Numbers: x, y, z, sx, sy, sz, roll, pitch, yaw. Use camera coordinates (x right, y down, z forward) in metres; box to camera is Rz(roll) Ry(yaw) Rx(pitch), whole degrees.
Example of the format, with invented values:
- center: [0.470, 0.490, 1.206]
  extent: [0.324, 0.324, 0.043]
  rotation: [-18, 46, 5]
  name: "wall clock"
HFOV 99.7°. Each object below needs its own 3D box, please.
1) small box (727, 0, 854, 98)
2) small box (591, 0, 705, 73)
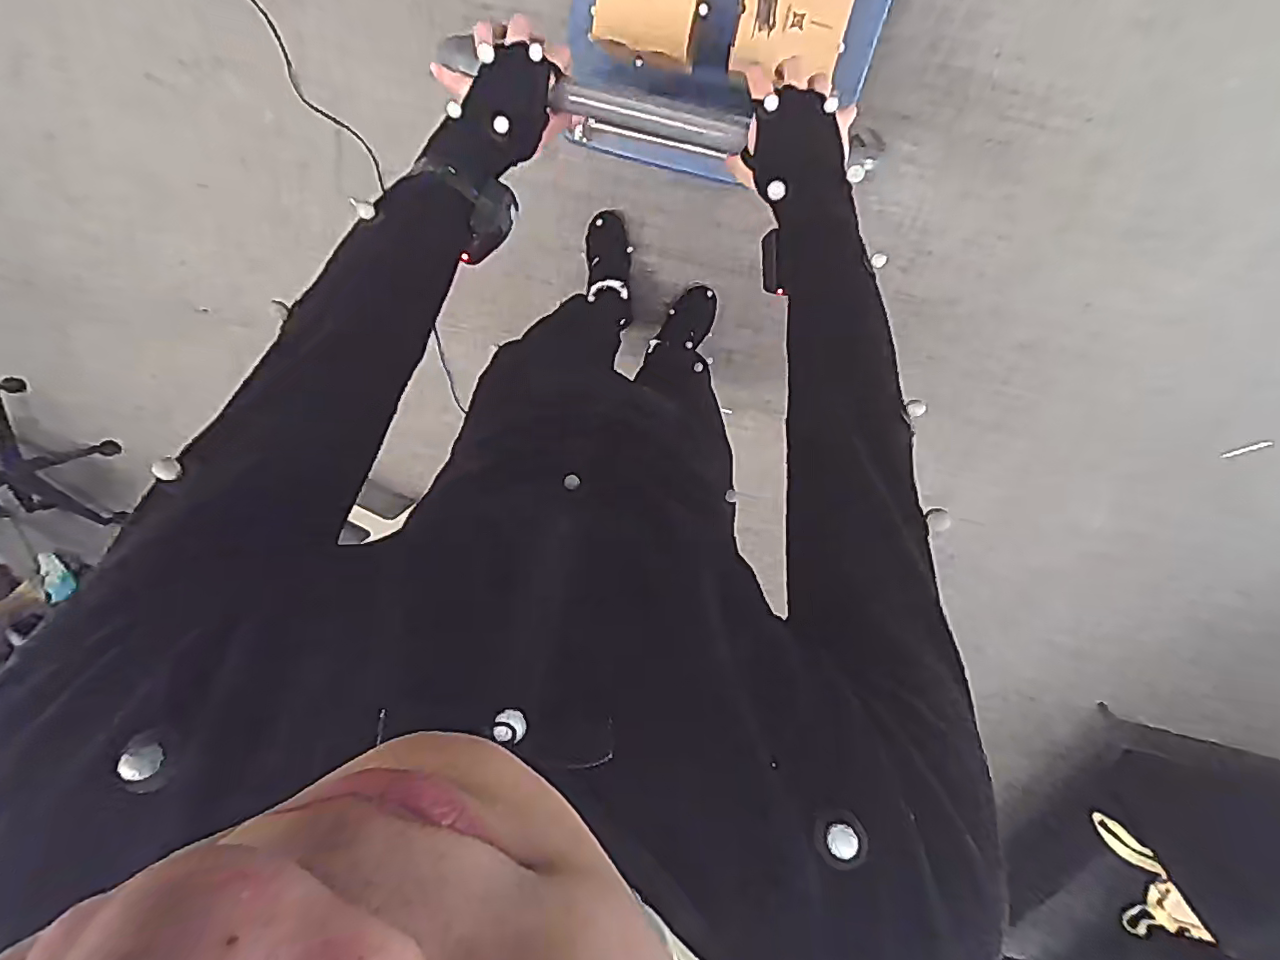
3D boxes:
- center: [0.257, -0.783, 0.941]
  extent: [0.179, 0.176, 0.168]
  rotation: [13, 122, 1]
  name: "small box"
- center: [0.024, -0.848, 0.948]
  extent: [0.168, 0.176, 0.179]
  rotation: [15, 122, 0]
  name: "small box"
